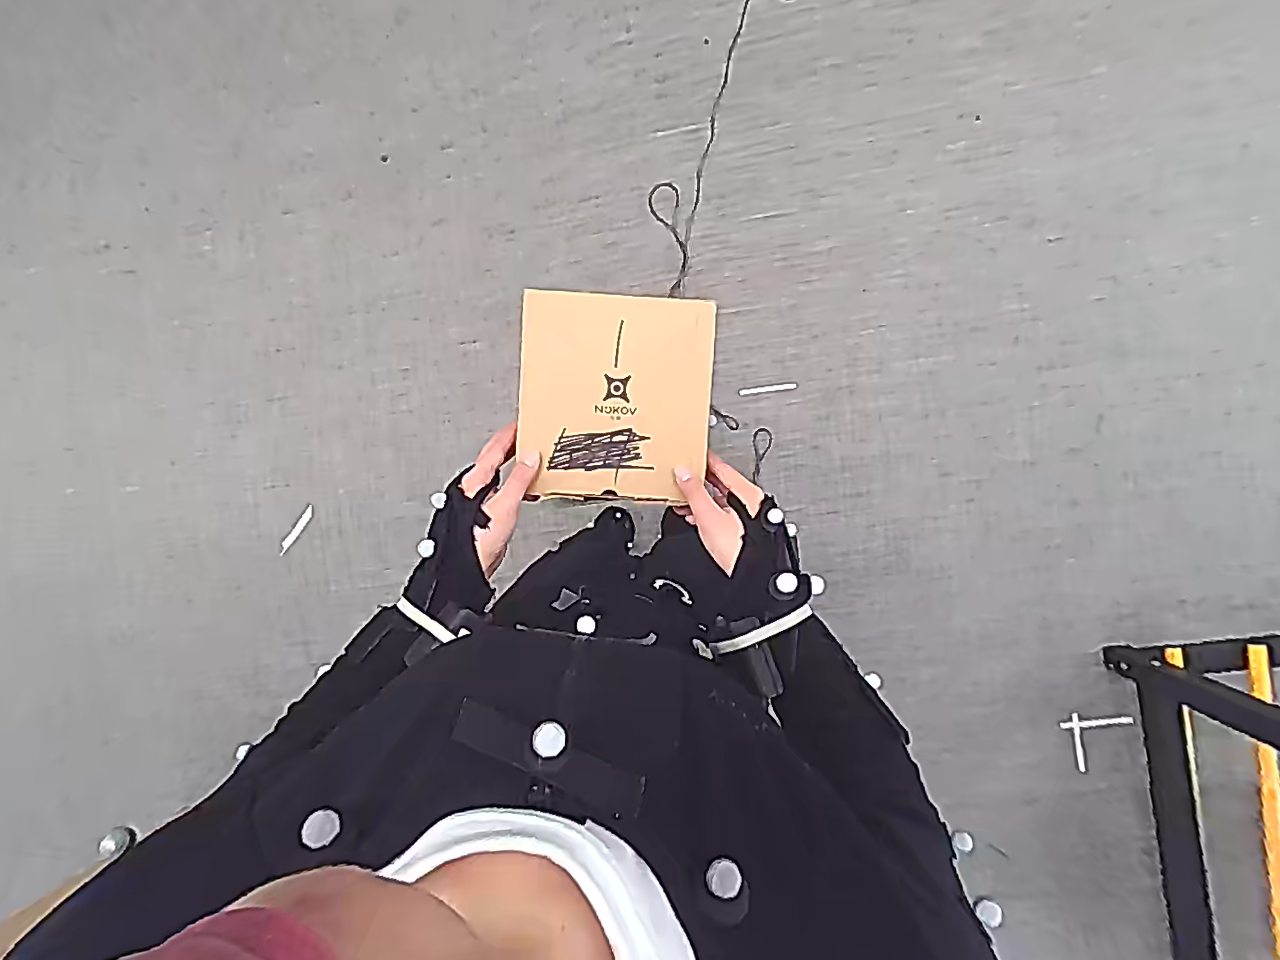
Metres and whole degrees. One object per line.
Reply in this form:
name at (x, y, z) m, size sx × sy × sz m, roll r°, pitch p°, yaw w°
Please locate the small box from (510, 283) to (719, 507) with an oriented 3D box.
small box at (-0.023, -0.074, 0.528) m, size 0.168 × 0.176 × 0.179 m, roll 4°, pitch 93°, yaw -2°
